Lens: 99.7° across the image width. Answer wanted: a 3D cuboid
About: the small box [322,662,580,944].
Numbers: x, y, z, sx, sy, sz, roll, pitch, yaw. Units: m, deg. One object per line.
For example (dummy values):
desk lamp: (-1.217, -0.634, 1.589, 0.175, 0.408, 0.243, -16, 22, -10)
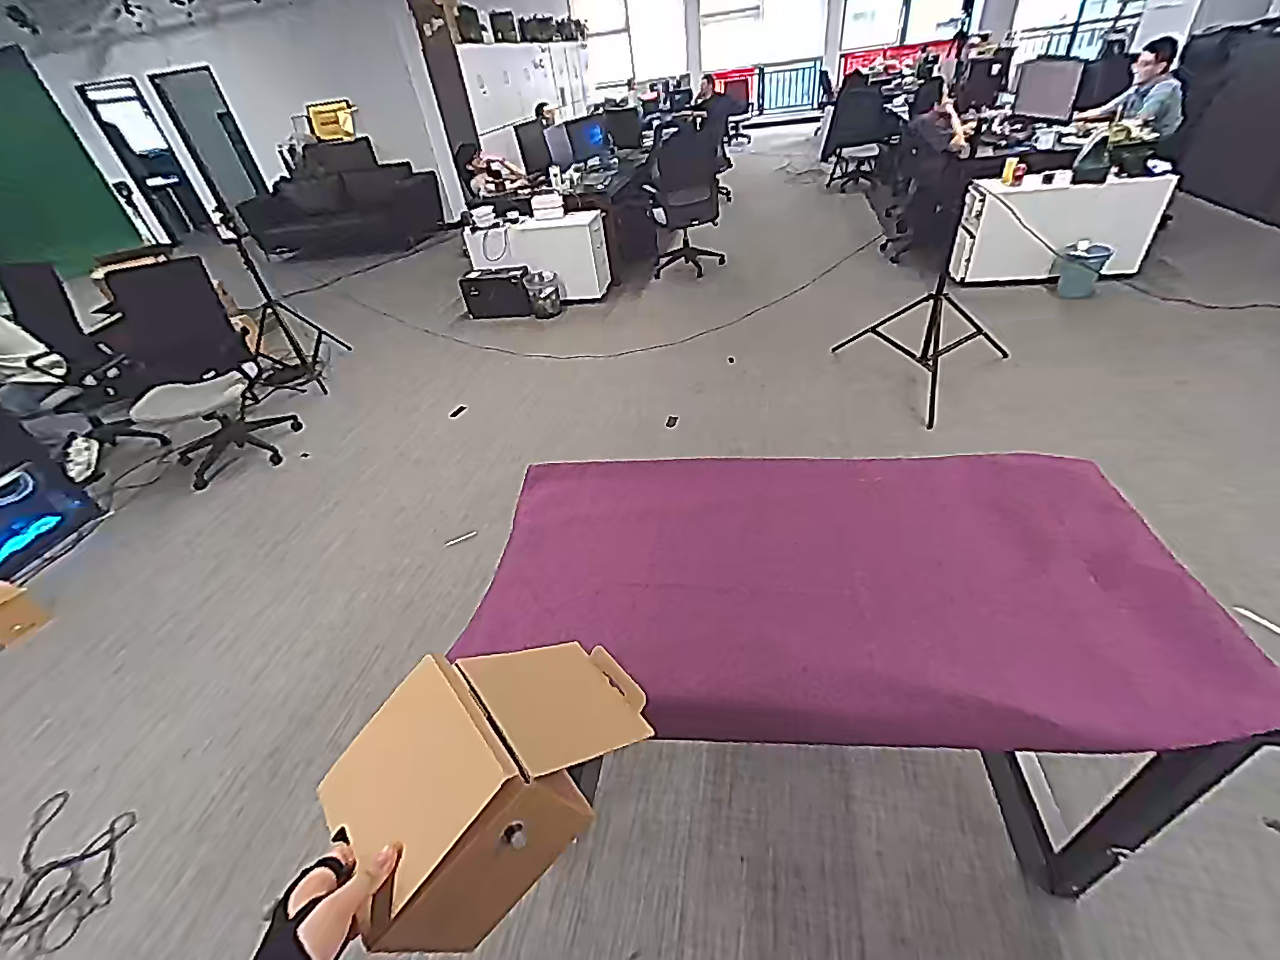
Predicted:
small box: (-0.183, 0.336, 0.569, 0.179, 0.176, 0.168, -42, 47, -16)
